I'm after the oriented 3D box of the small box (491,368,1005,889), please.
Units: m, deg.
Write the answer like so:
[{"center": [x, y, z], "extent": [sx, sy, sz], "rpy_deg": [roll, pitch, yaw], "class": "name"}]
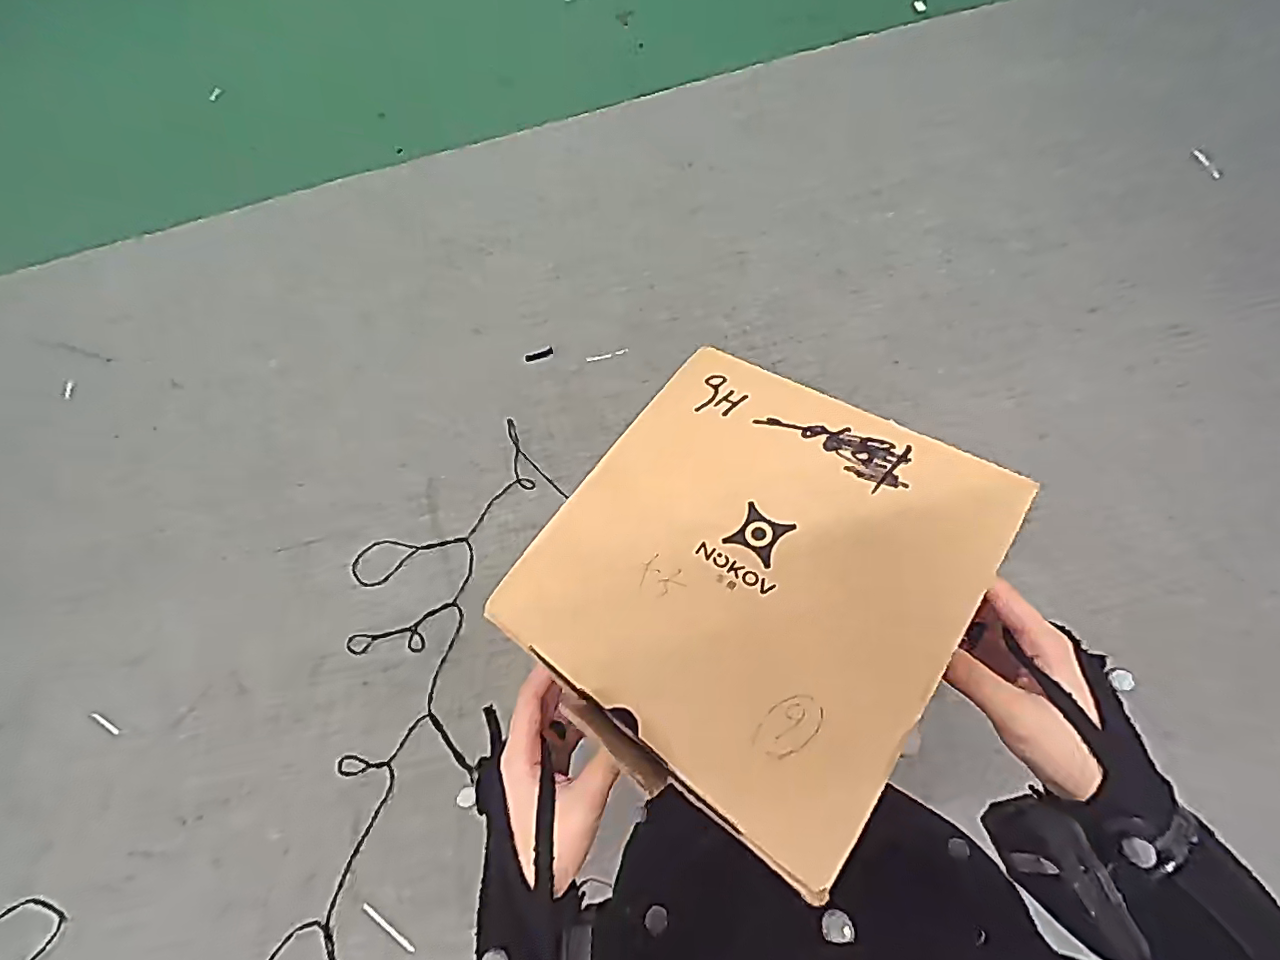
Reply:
[{"center": [0.059, 0.077, 0.306], "extent": [0.168, 0.176, 0.179], "rpy_deg": [30, 71, 27], "class": "small box"}]
